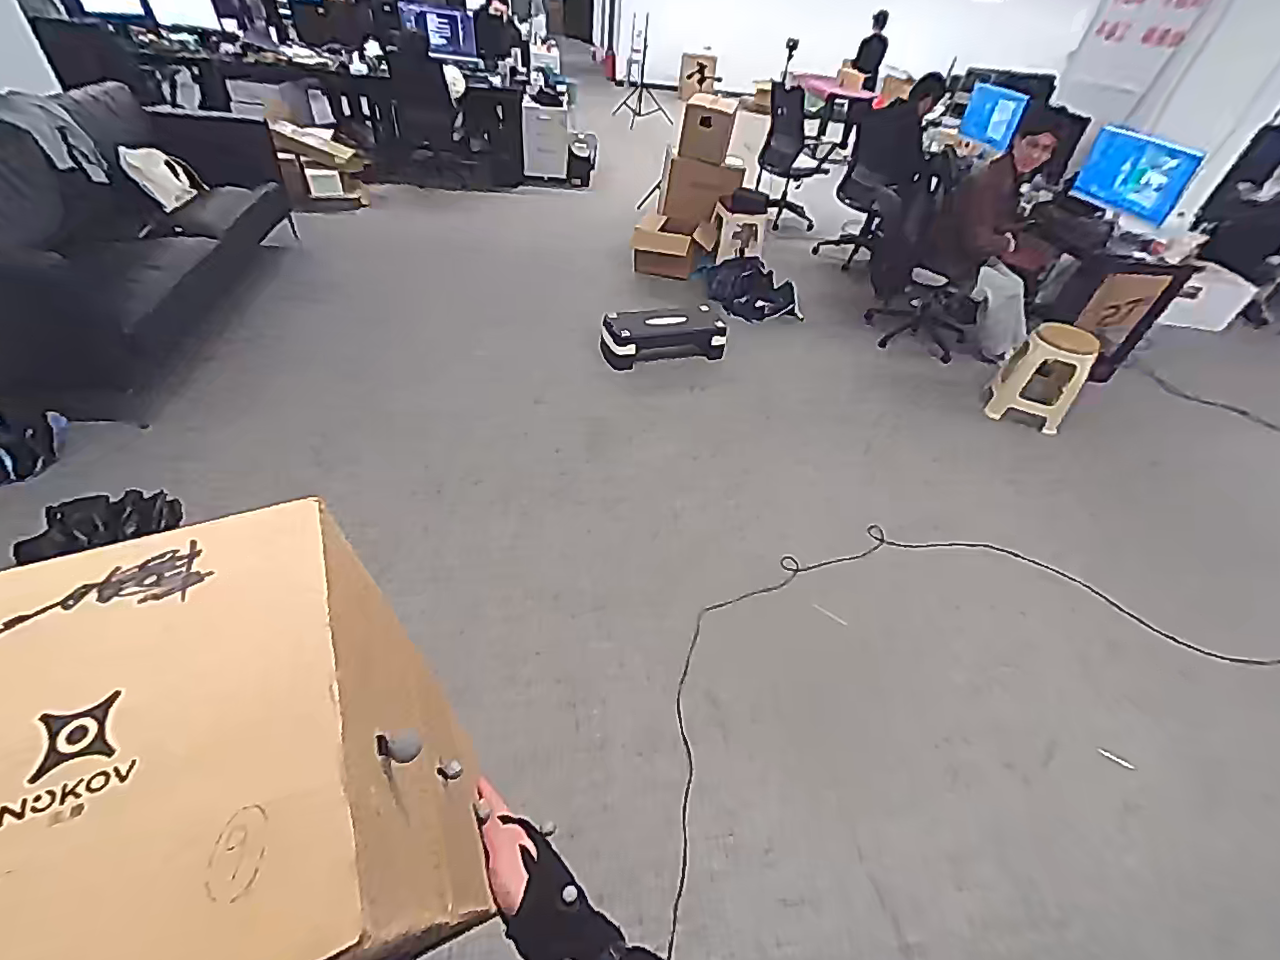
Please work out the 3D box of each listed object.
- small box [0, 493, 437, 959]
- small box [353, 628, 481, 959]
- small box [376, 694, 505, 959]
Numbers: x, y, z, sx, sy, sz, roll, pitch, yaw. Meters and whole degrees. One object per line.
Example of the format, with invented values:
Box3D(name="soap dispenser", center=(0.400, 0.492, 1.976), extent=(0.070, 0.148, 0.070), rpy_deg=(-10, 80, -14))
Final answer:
Box3D(name="small box", center=(-0.201, 0.138, 0.241), extent=(0.168, 0.176, 0.179), rpy_deg=(-15, 58, -19))
Box3D(name="small box", center=(-0.217, 0.236, 0.372), extent=(0.168, 0.176, 0.179), rpy_deg=(-16, 56, -19))
Box3D(name="small box", center=(-0.232, 0.332, 0.501), extent=(0.168, 0.176, 0.179), rpy_deg=(-17, 57, -18))
